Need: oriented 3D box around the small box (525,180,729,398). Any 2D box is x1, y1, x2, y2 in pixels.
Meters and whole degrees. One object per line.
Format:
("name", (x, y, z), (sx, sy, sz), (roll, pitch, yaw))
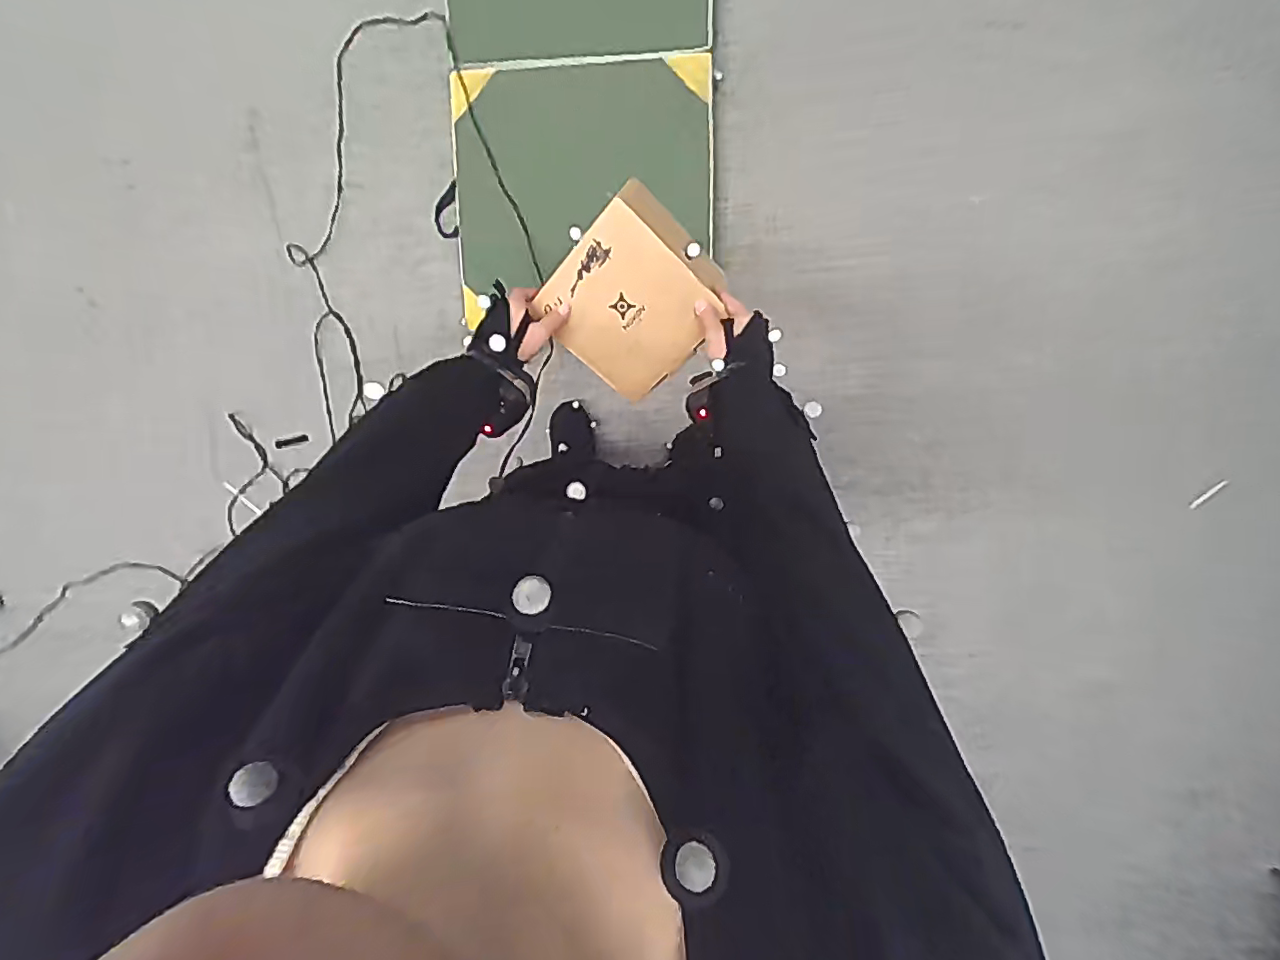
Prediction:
("small box", (-0.009, -0.242, 0.674), (0.179, 0.176, 0.168), (39, 120, -20))
